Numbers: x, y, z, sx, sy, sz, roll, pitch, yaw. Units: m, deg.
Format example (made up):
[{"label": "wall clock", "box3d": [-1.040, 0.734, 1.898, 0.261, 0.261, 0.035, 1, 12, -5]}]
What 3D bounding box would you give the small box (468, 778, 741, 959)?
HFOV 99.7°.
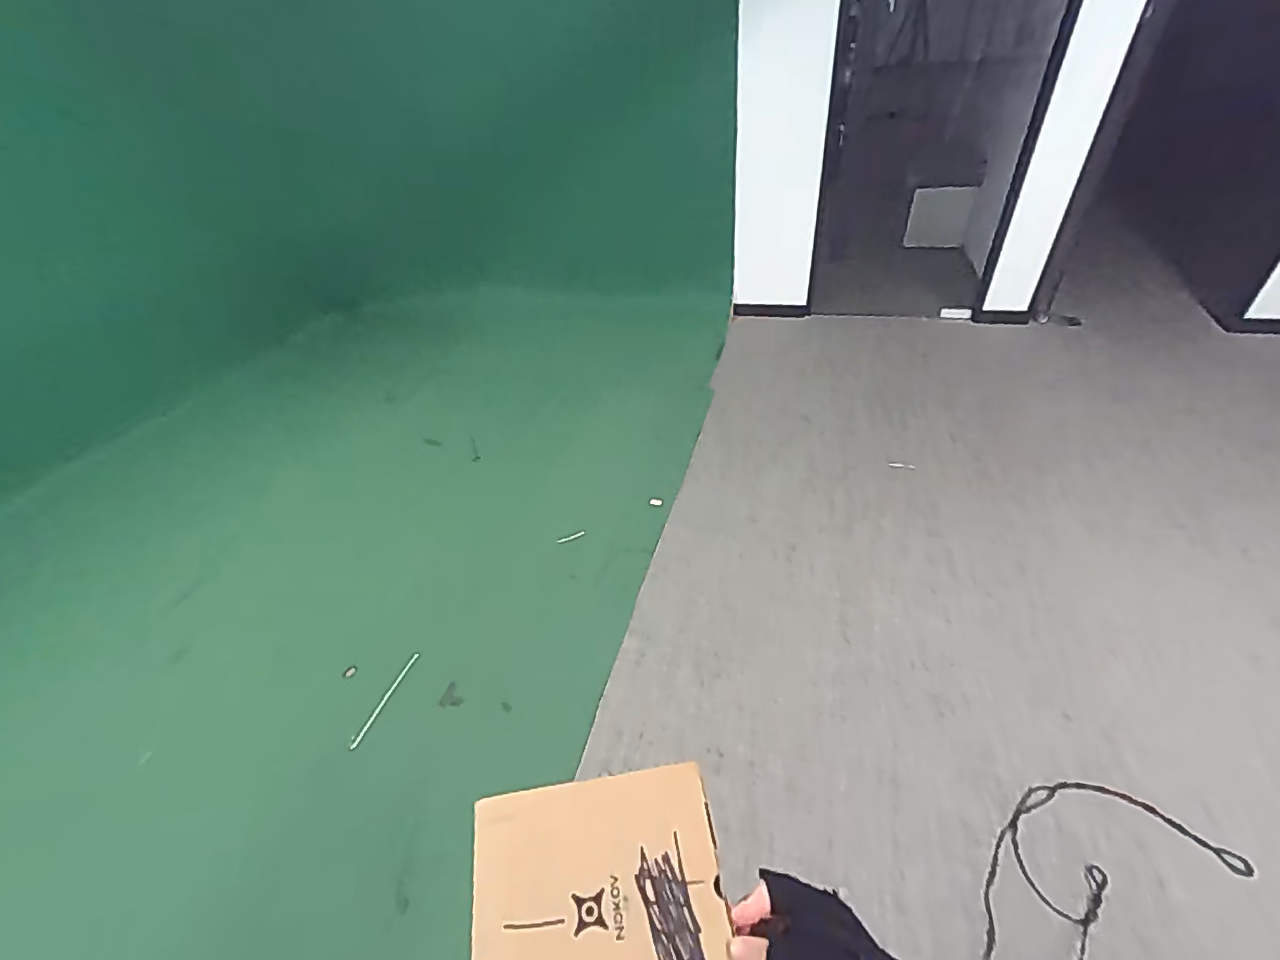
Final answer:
[{"label": "small box", "box3d": [-0.028, 0.350, 0.417, 0.179, 0.176, 0.168, -6, 49, -7]}]
